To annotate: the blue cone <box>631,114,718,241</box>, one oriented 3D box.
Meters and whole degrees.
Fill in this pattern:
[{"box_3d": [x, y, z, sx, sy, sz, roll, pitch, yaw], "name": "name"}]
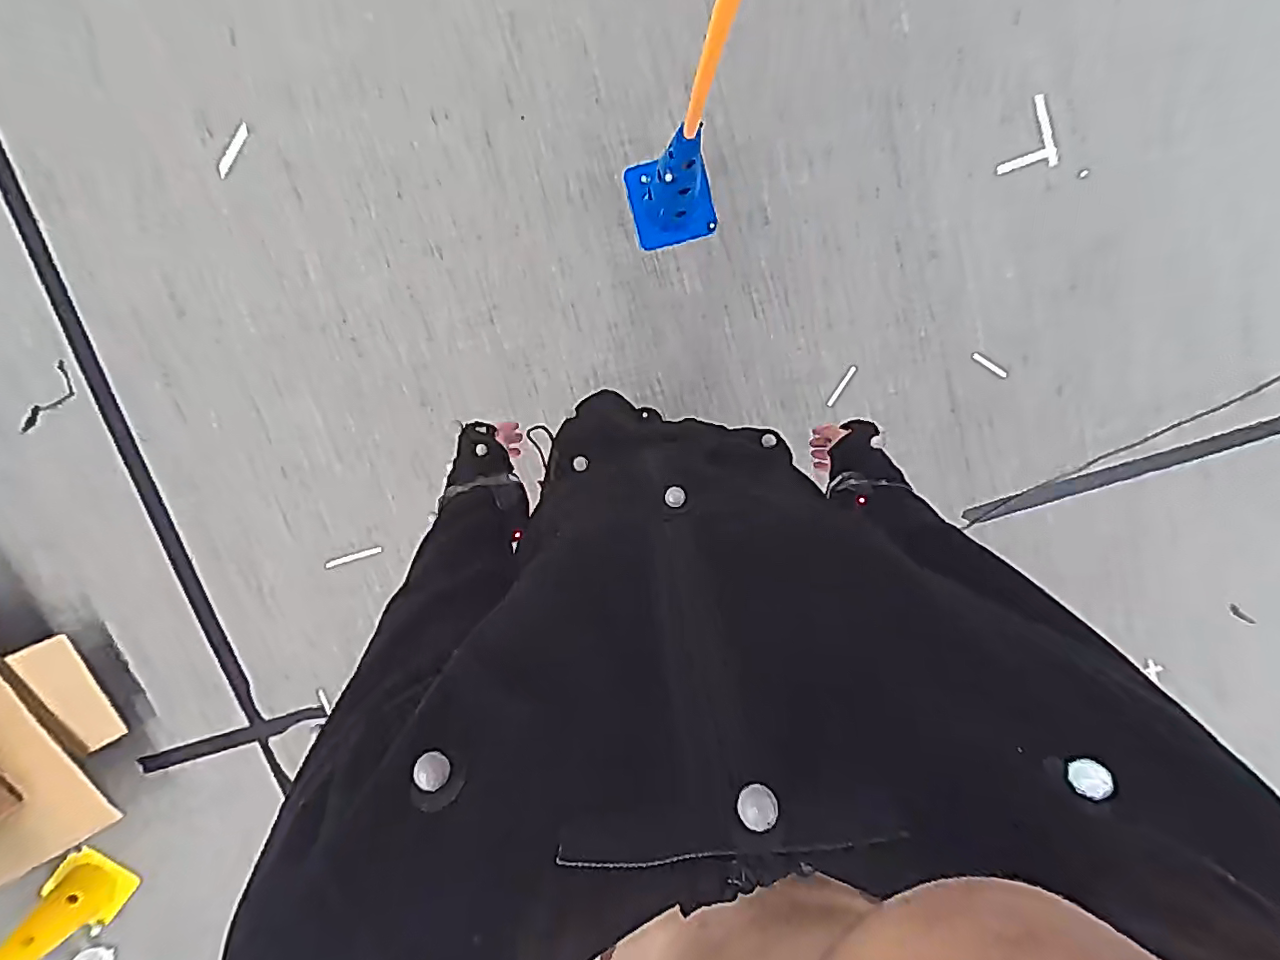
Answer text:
[{"box_3d": [0.092, -0.669, 1.161, 0.192, 0.380, 0.193, -14, 99, -1], "name": "blue cone"}]
